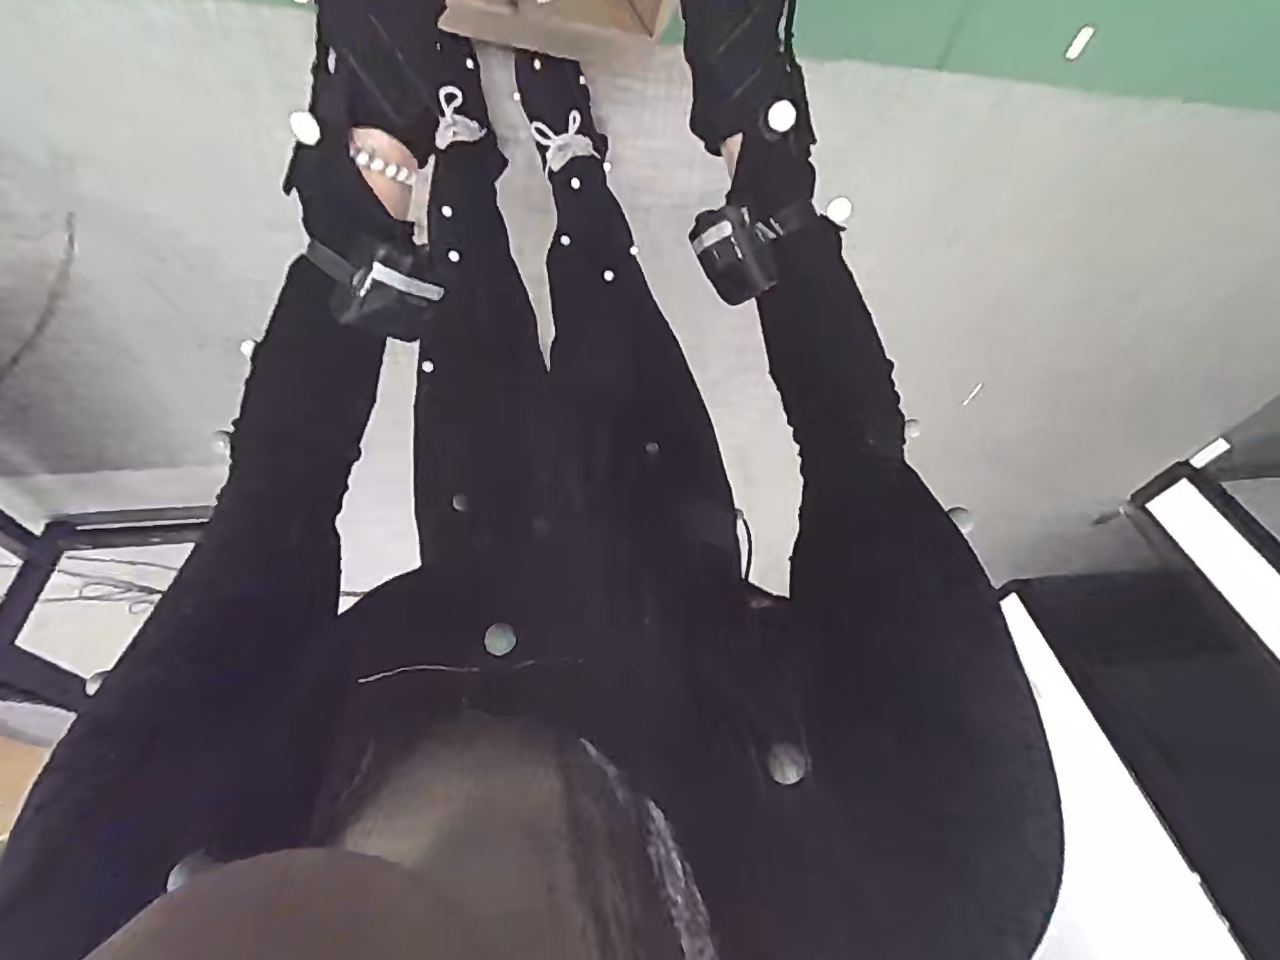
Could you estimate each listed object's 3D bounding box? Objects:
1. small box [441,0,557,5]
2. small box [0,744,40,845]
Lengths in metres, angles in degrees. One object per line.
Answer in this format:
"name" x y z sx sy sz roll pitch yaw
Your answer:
"small box" -0.049 -0.405 0.324 0.168 0.176 0.179 -5 130 -1
"small box" -1.333 0.605 1.026 0.168 0.176 0.179 -6 143 -7
